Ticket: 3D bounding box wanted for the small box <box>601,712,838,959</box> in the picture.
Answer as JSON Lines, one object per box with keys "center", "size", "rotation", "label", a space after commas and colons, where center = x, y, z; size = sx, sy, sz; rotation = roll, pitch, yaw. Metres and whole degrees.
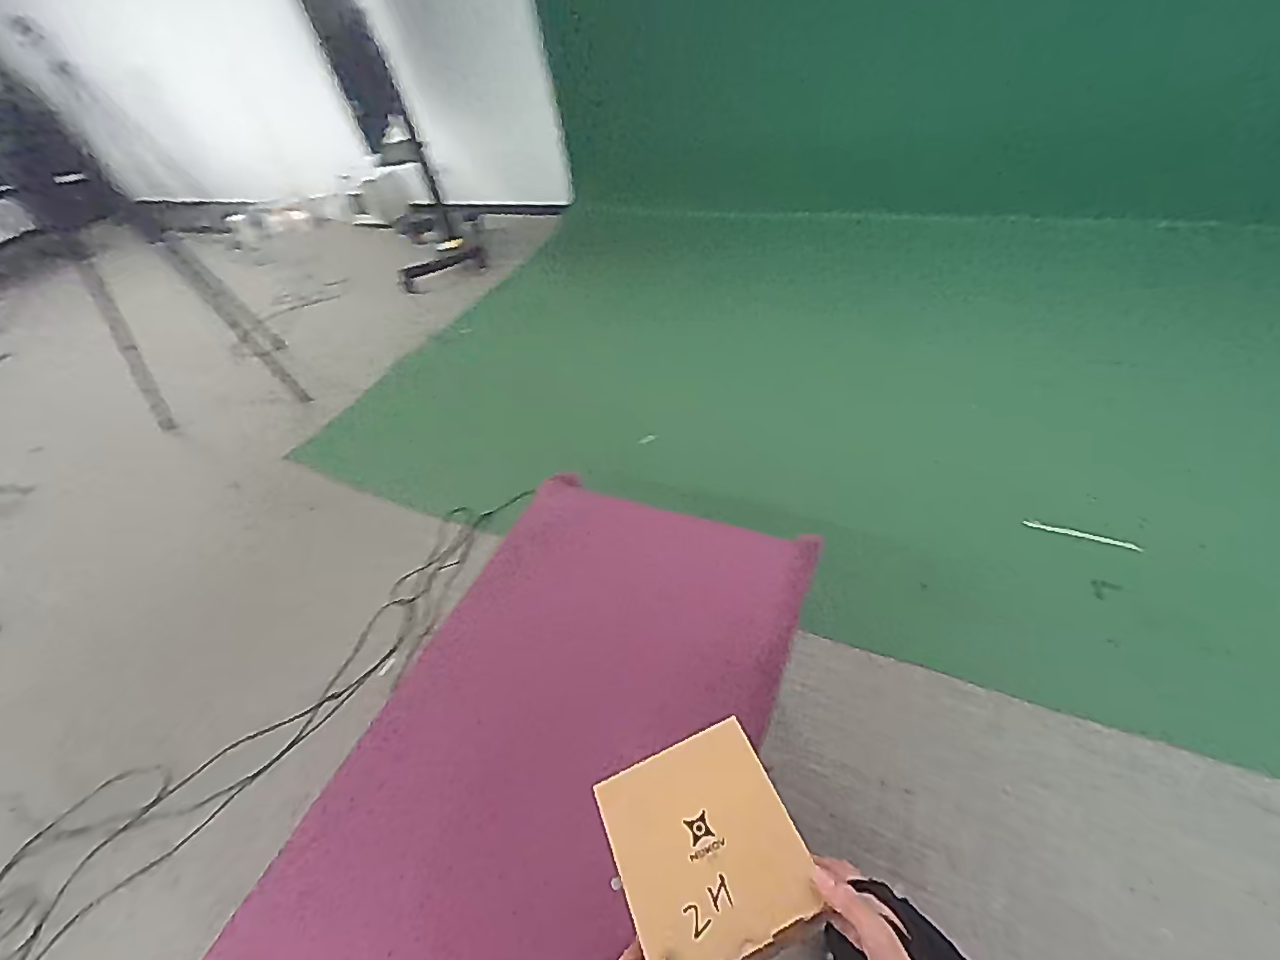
{"center": [0.075, 0.380, 0.553], "size": [0.168, 0.176, 0.179], "rotation": [-22, 45, -7], "label": "small box"}
